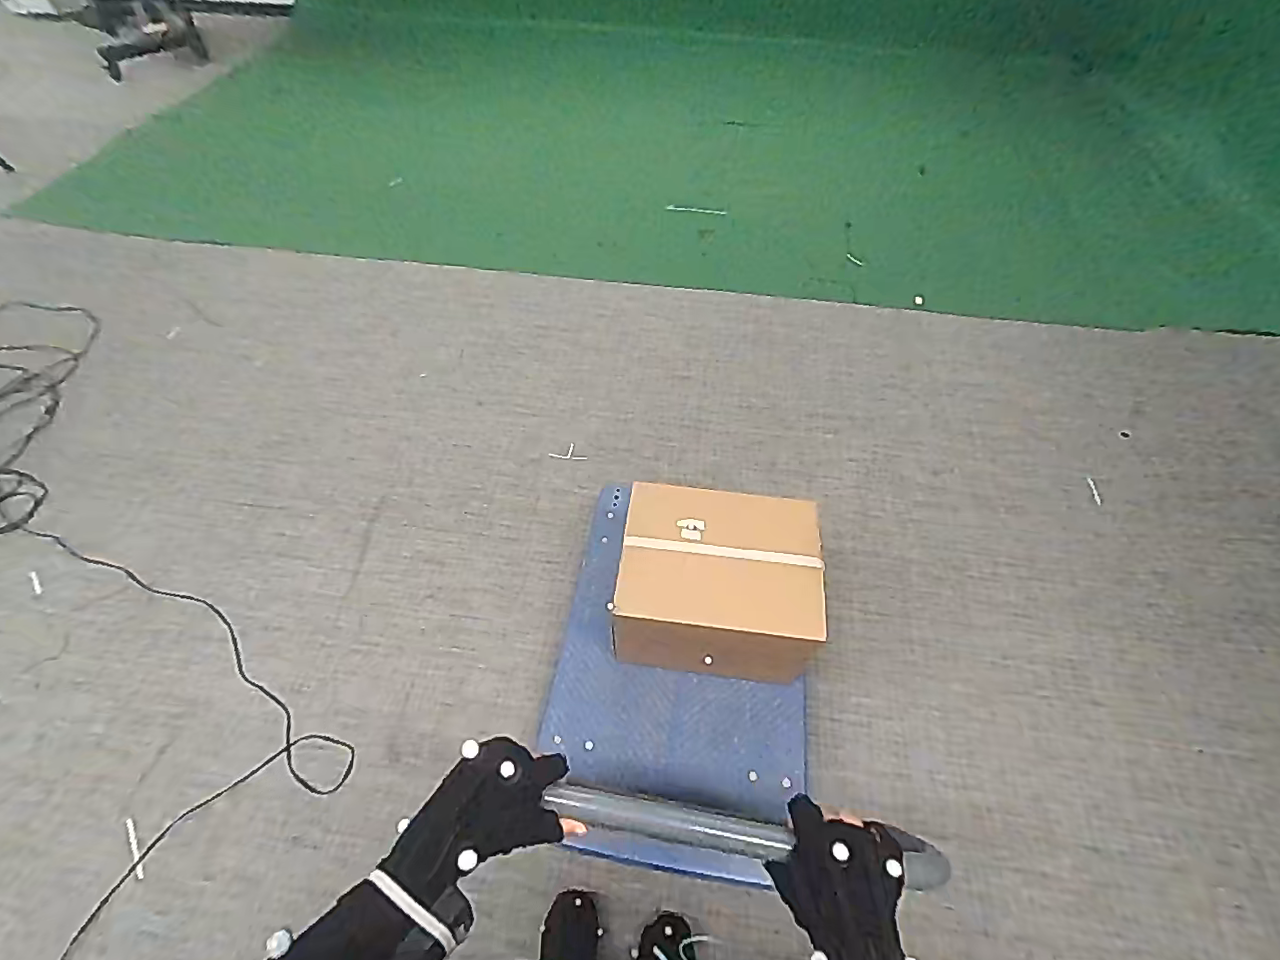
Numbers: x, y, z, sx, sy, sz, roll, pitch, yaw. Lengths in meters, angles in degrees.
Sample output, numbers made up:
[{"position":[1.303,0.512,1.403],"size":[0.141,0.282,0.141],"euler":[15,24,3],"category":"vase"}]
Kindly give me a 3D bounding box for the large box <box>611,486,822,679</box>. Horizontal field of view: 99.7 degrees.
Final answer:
[{"position":[0.162,0.238,1.220],"size":[0.408,0.320,0.320],"euler":[6,54,5],"category":"large box"}]
